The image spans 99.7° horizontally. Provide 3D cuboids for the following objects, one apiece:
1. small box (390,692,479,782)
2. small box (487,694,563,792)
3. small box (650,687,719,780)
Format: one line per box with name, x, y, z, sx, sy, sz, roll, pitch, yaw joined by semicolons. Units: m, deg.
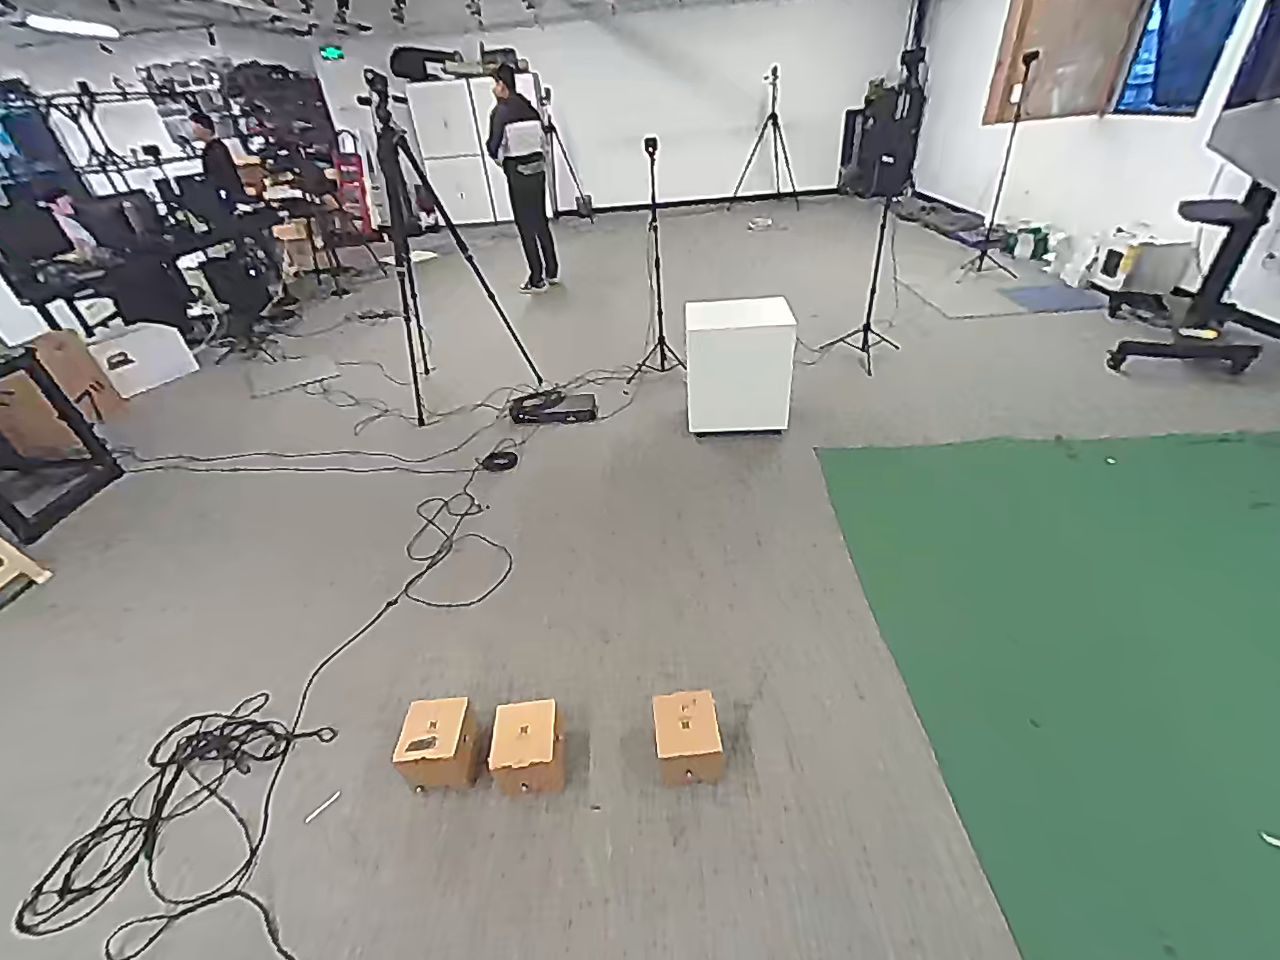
small box;-0.562;0.720;1.507;0.168;0.176;0.179;-4;35;1
small box;-0.307;0.719;1.481;0.168;0.176;0.179;-6;37;-1
small box;0.118;0.692;1.468;0.168;0.176;0.179;-5;36;-2
